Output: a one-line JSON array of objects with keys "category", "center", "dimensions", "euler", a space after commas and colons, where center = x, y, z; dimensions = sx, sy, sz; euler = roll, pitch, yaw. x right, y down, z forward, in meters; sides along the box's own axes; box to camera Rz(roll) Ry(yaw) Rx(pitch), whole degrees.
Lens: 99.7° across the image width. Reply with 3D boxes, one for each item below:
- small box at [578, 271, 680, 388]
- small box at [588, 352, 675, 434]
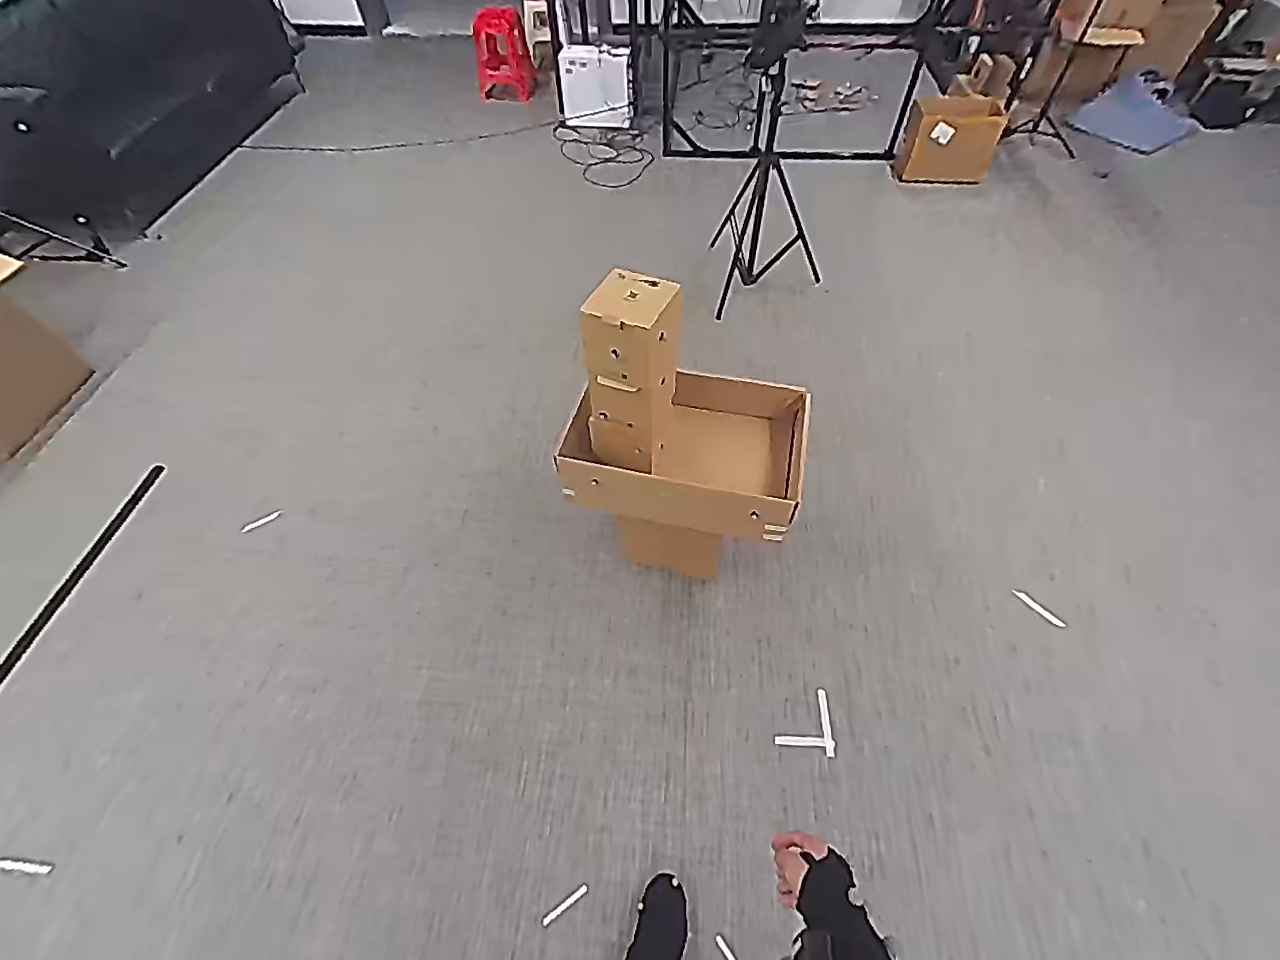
[{"category": "small box", "center": [-0.018, -0.335, 1.219], "dimensions": [0.168, 0.176, 0.179], "euler": [20, 57, 16]}, {"category": "small box", "center": [-0.014, -0.241, 1.354], "dimensions": [0.168, 0.176, 0.179], "euler": [17, 55, 14]}]
